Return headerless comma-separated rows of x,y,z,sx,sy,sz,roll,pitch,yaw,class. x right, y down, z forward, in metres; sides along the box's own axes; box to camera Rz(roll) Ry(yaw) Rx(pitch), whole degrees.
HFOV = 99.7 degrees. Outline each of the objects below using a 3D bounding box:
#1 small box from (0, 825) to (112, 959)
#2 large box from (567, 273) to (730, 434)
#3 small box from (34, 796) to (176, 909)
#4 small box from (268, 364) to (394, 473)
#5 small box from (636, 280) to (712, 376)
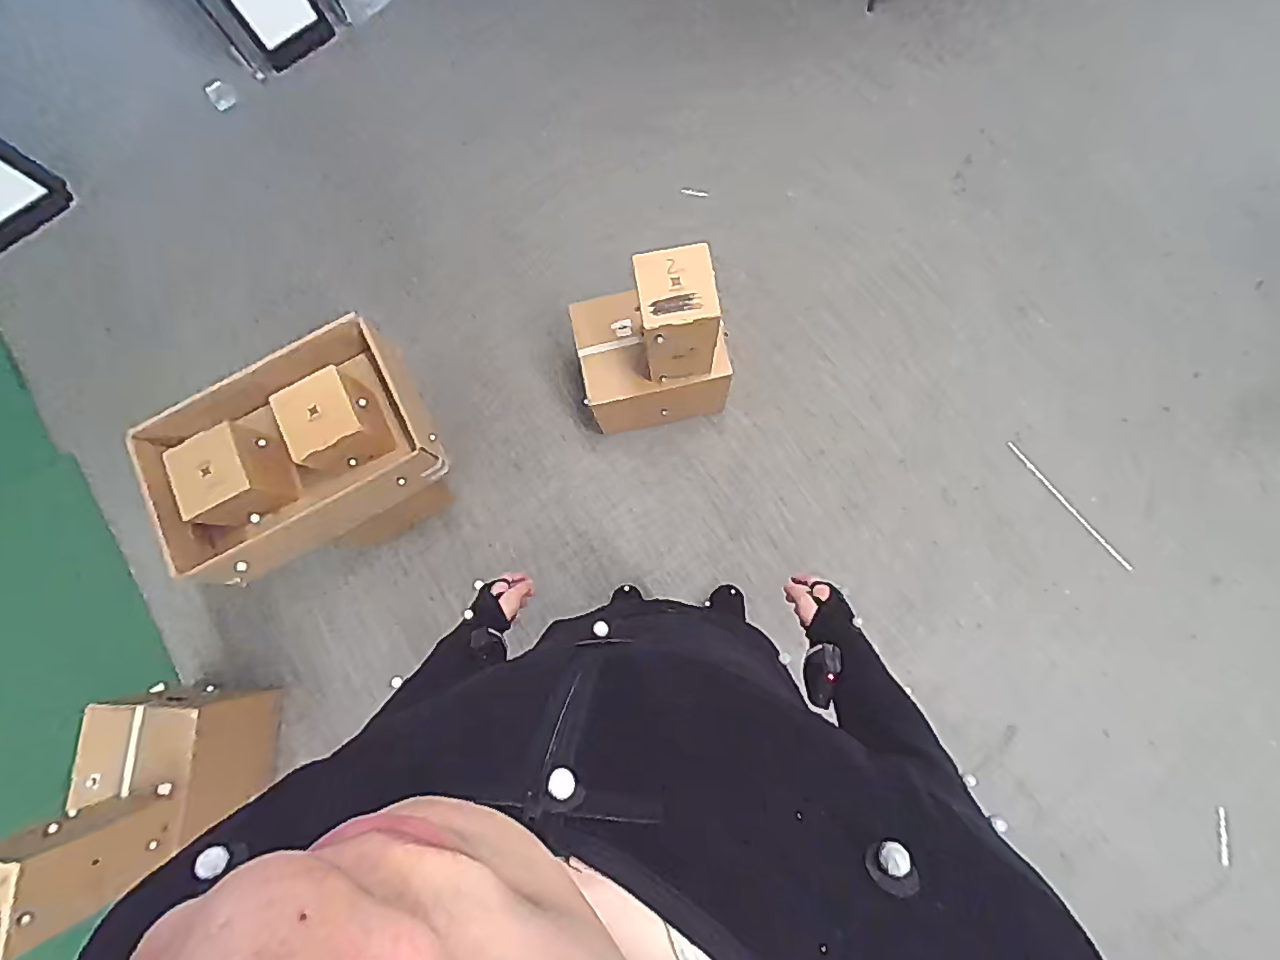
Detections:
-1.215,0.803,1.063,0.179,0.176,0.168,-2,78,3,small box
0.031,-0.362,1.632,0.408,0.320,0.320,-13,78,2,large box
-1.216,0.835,1.224,0.179,0.176,0.168,-1,79,2,small box
-0.721,-0.138,1.278,0.168,0.176,0.179,-28,80,-2,small box
0.088,-0.378,1.381,0.168,0.176,0.179,-9,79,2,small box
